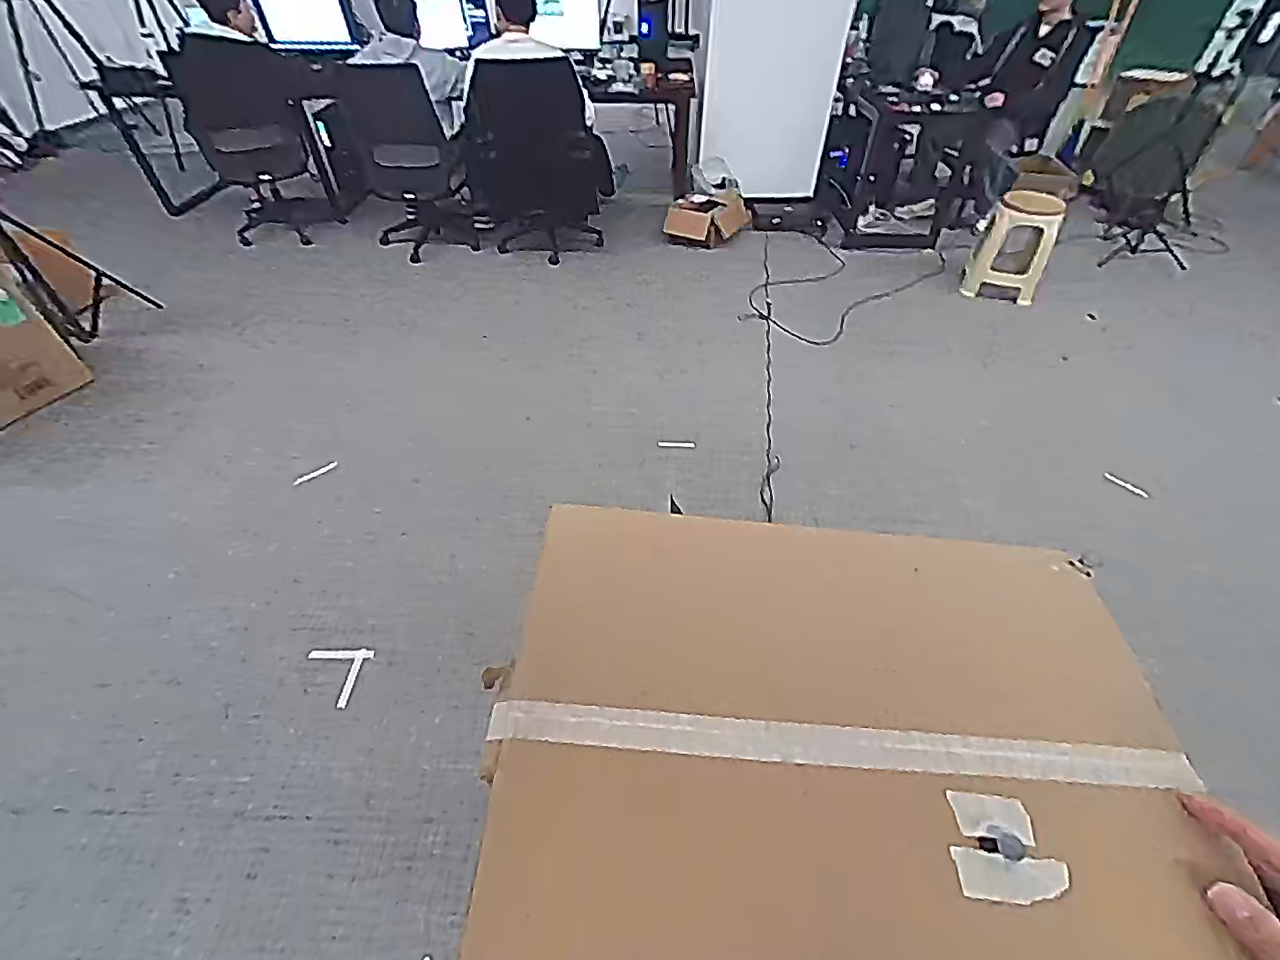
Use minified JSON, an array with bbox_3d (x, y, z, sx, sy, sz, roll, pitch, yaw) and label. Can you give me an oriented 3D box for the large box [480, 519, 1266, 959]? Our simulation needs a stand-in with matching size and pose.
[{"bbox_3d":[0.112,0.258,0.440,0.408,0.320,0.320,6,50,-2],"label":"large box"}]
